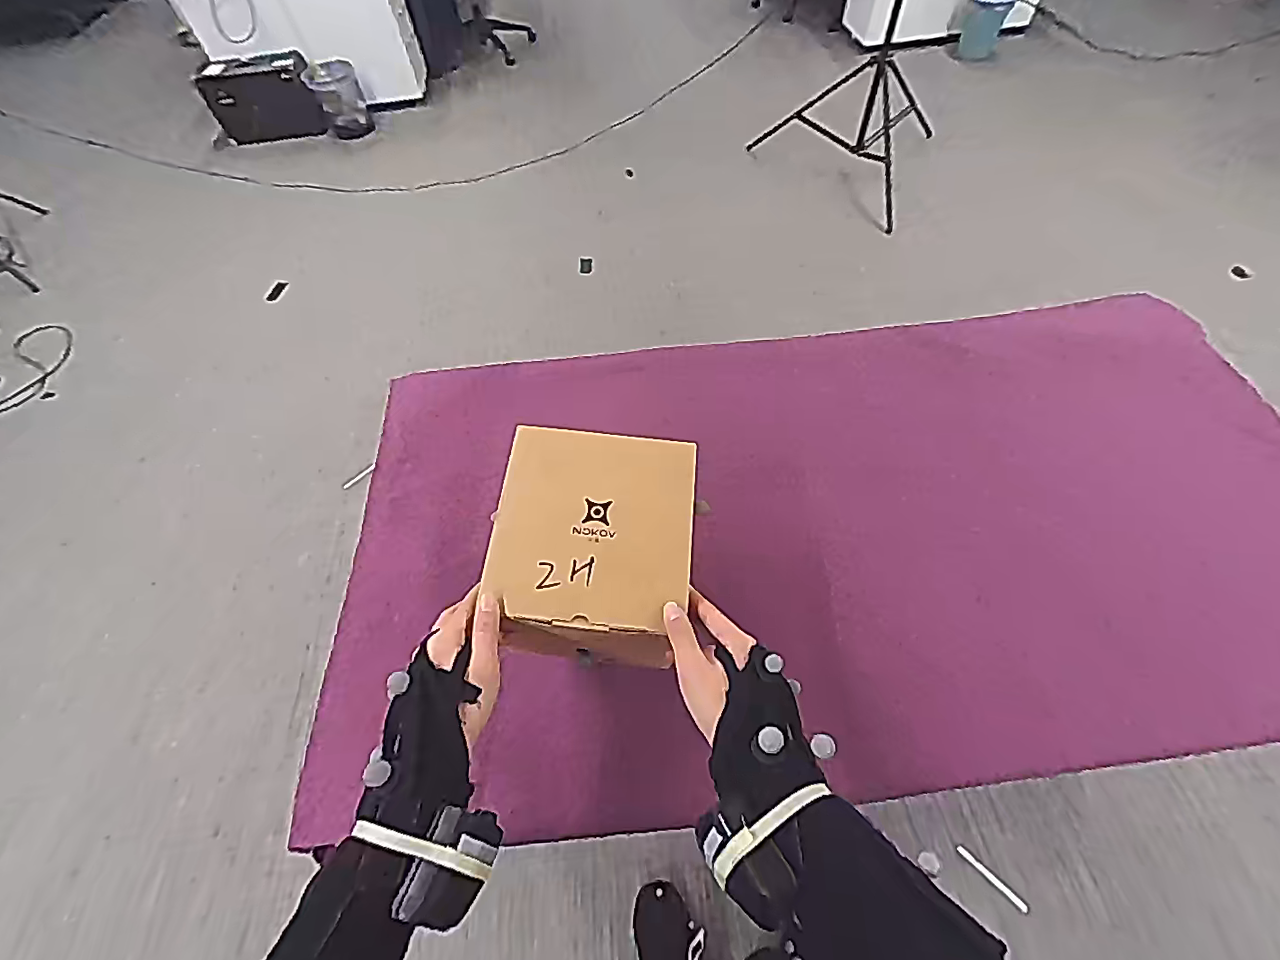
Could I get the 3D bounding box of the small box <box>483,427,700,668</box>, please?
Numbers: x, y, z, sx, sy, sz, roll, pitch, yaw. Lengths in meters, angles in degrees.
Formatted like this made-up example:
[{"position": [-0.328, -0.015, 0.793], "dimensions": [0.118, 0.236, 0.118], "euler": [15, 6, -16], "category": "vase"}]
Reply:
[{"position": [-0.038, 0.073, 0.529], "dimensions": [0.168, 0.176, 0.179], "euler": [6, 62, 1], "category": "small box"}]
